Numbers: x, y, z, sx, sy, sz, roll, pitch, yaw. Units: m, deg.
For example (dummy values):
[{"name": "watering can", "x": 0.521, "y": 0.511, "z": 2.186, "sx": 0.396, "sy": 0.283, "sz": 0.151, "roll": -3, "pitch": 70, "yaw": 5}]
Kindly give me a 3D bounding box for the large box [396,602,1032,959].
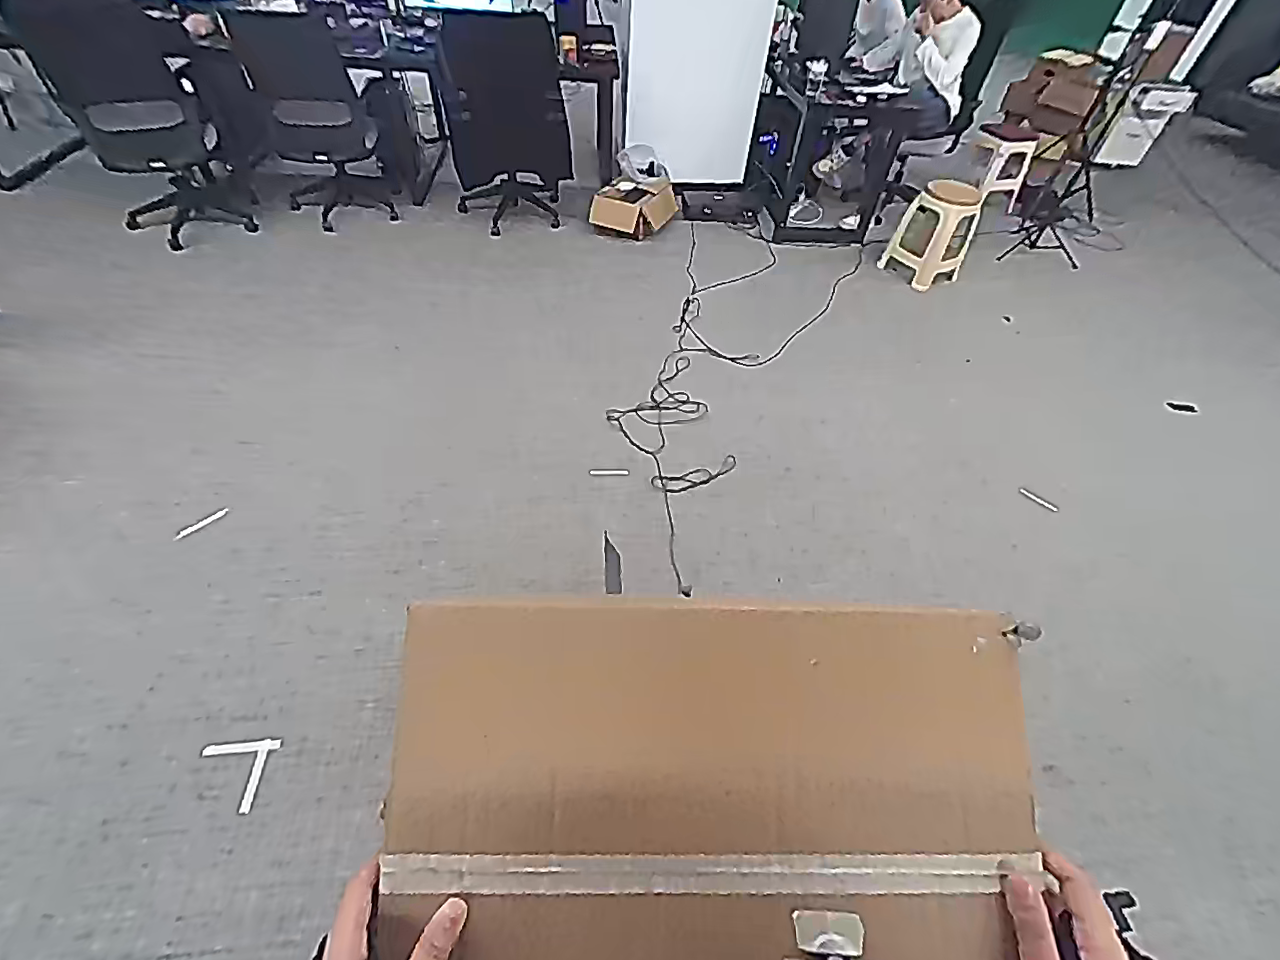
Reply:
[{"name": "large box", "x": 0.041, "y": 0.272, "z": 0.490, "sx": 0.408, "sy": 0.320, "sz": 0.320, "roll": 1, "pitch": 80, "yaw": -3}]
